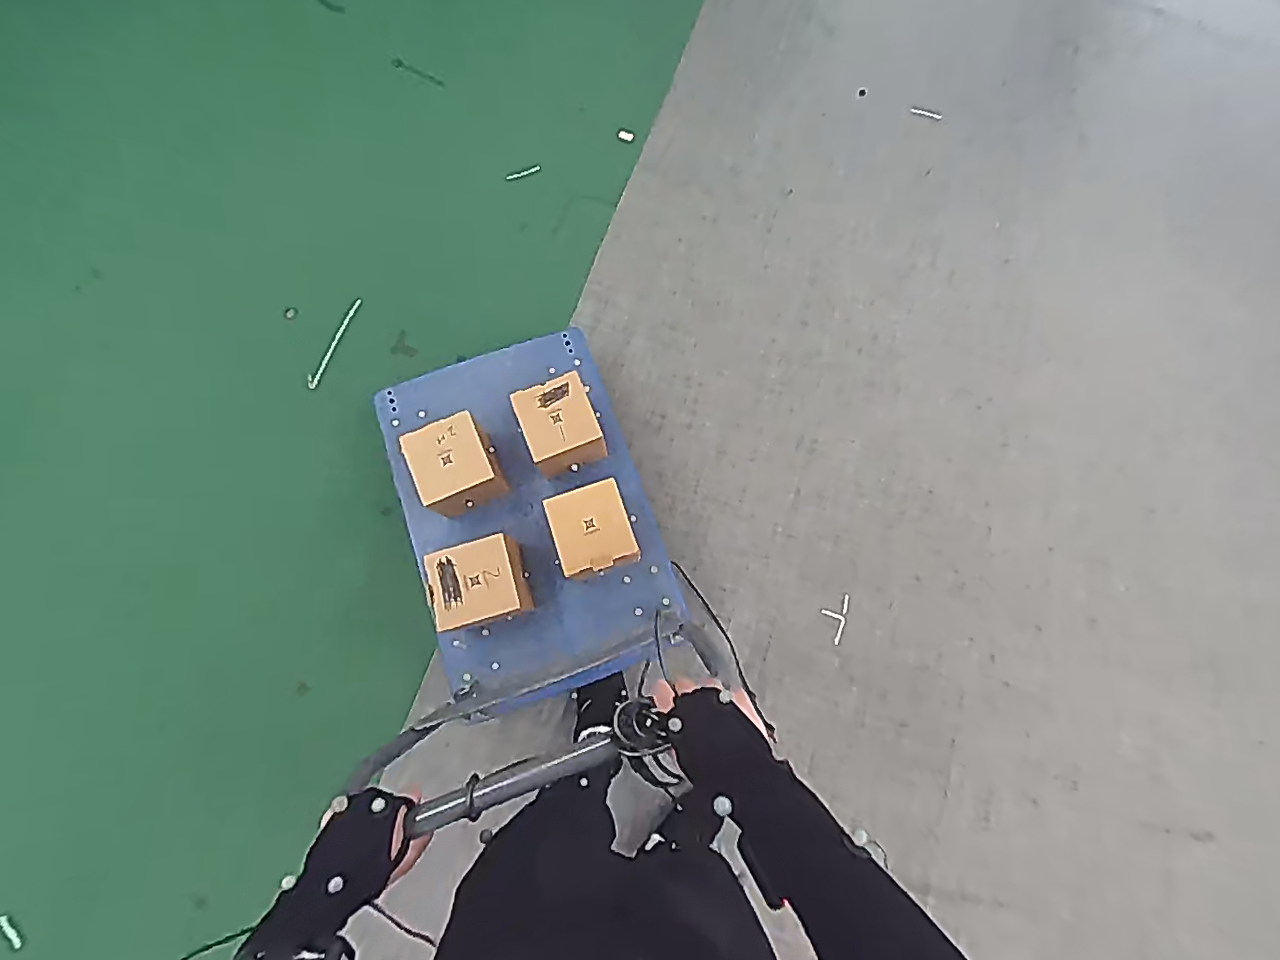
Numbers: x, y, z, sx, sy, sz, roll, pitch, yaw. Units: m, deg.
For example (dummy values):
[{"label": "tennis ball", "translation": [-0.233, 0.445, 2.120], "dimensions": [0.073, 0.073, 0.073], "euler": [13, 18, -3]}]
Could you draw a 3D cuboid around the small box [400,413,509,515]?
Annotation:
[{"label": "small box", "translation": [-0.426, -0.027, 1.269], "dimensions": [0.168, 0.176, 0.179], "euler": [-23, 77, -6]}]

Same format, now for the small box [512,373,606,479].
[{"label": "small box", "translation": [-0.188, -0.122, 1.292], "dimensions": [0.168, 0.176, 0.179], "euler": [-22, 77, -5]}]

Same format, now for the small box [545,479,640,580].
[{"label": "small box", "translation": [-0.106, 0.119, 1.233], "dimensions": [0.168, 0.176, 0.179], "euler": [-19, 78, -5]}]
